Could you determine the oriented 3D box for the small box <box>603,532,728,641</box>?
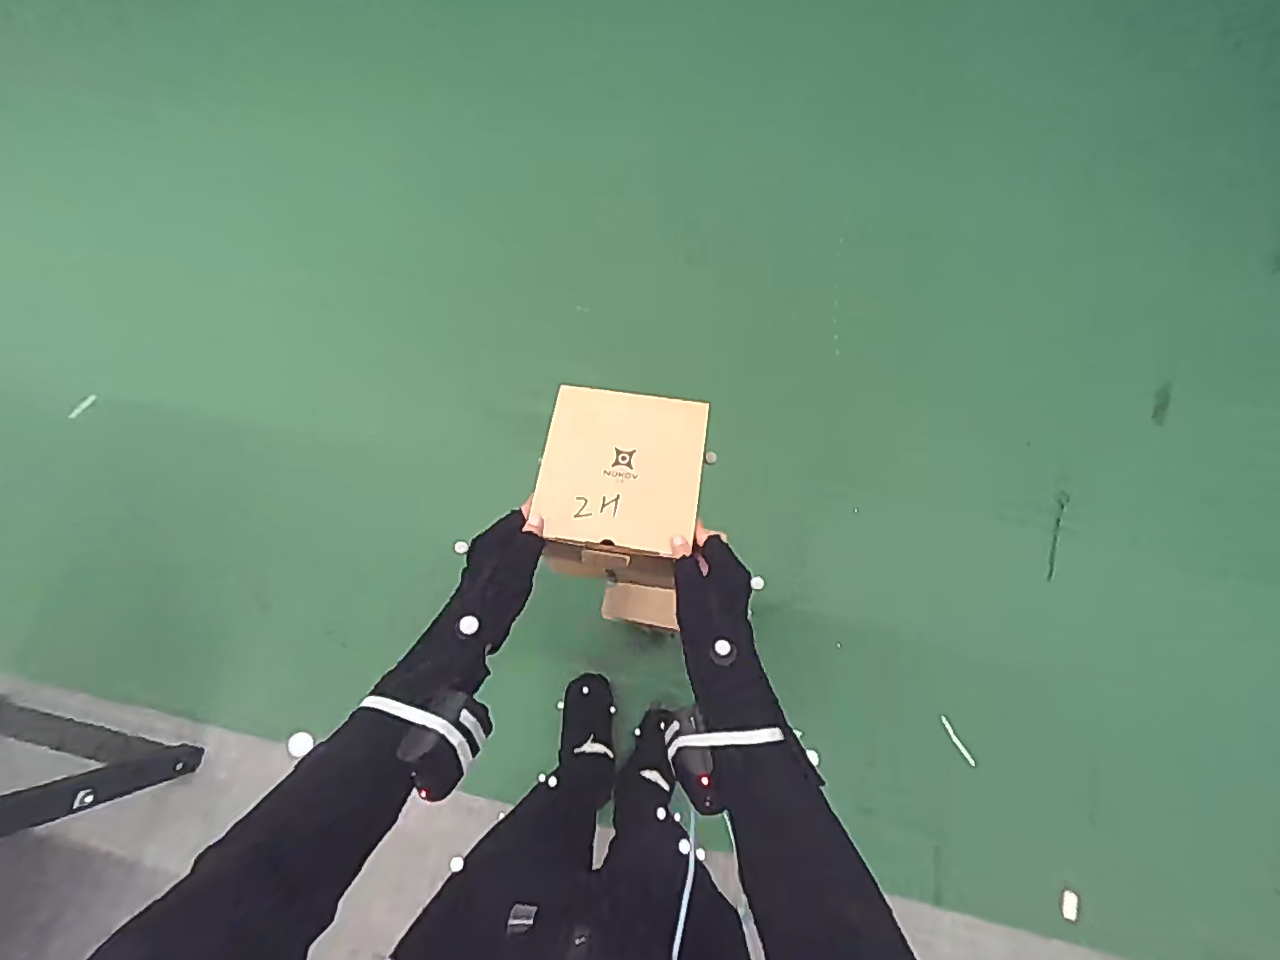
[{"bbox_3d":[0.044,0.174,0.934,0.179,0.176,0.168,11,76,4],"label":"small box"}]

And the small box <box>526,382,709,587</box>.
[{"bbox_3d":[-0.019,0.013,0.626,0.168,0.176,0.179,8,69,4],"label":"small box"}]
